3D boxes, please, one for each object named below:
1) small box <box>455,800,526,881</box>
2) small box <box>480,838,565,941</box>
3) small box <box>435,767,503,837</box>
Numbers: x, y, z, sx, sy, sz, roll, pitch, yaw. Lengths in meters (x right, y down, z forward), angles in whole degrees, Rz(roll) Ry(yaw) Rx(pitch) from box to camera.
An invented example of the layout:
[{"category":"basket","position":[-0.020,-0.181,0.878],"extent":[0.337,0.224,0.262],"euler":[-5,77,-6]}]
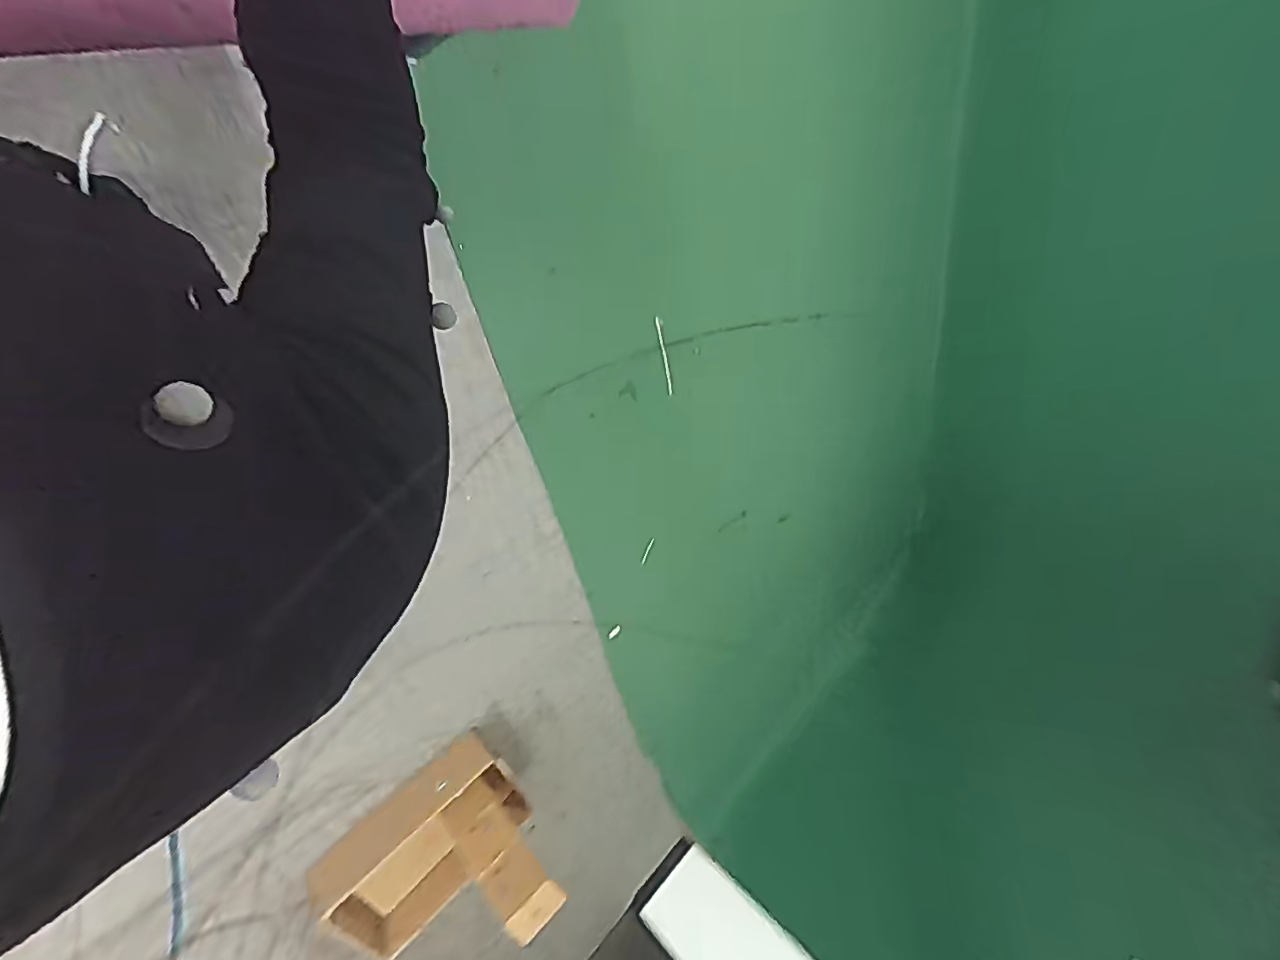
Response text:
[{"category":"small box","position":[-0.477,1.202,1.779],"extent":[0.168,0.176,0.179],"euler":[-36,129,-27]},{"category":"small box","position":[-0.366,1.256,1.672],"extent":[0.168,0.176,0.179],"euler":[-37,130,-25]},{"category":"small box","position":[-0.585,1.151,1.890],"extent":[0.168,0.176,0.179],"euler":[-35,129,-28]}]
